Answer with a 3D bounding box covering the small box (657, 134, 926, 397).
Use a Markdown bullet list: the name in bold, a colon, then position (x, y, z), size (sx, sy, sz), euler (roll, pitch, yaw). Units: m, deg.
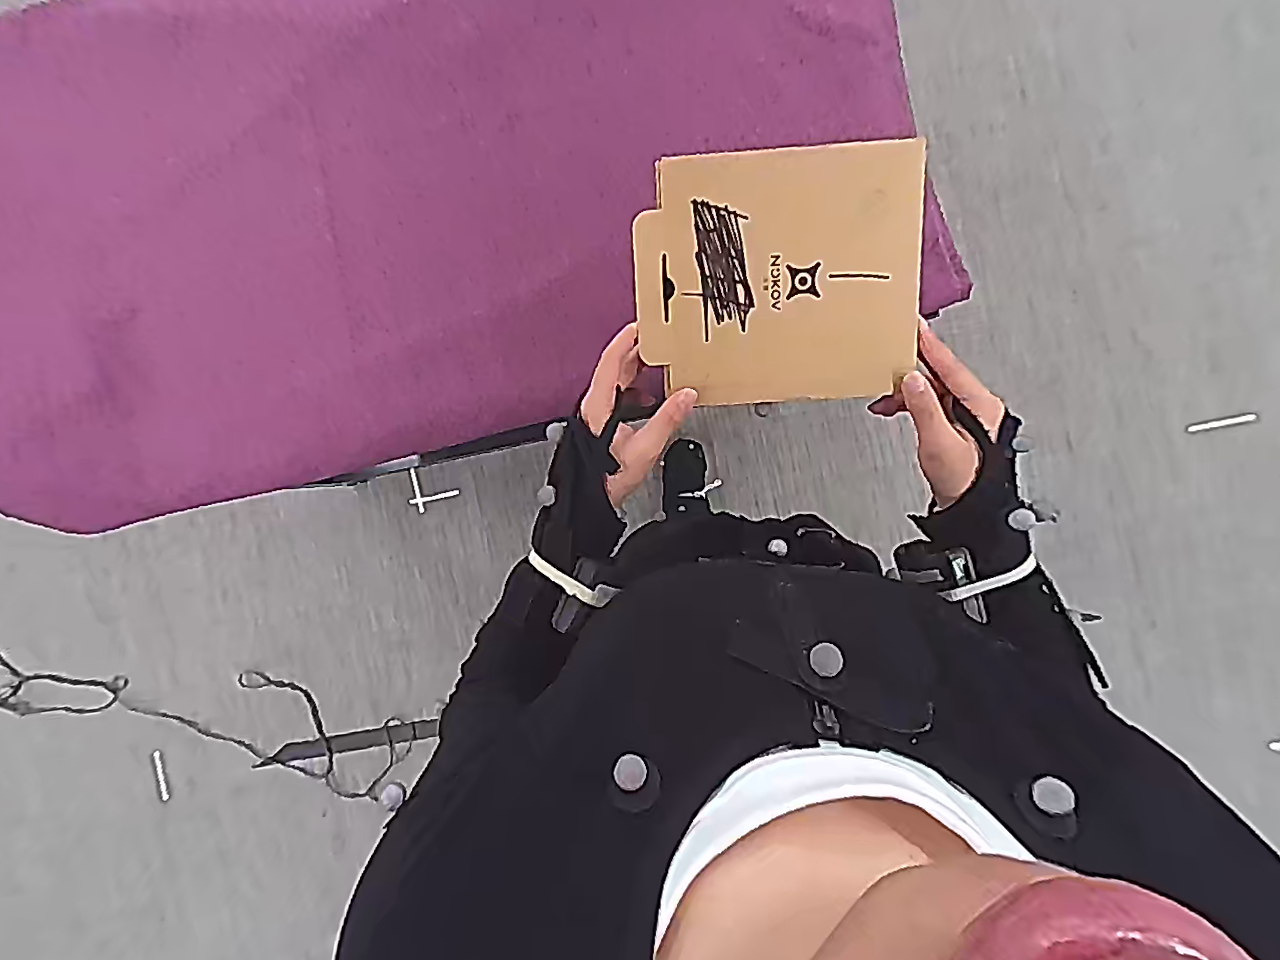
- **small box**: position (0.106, -0.157, 0.447), size (0.179, 0.176, 0.168), euler (-3, 102, 2)
